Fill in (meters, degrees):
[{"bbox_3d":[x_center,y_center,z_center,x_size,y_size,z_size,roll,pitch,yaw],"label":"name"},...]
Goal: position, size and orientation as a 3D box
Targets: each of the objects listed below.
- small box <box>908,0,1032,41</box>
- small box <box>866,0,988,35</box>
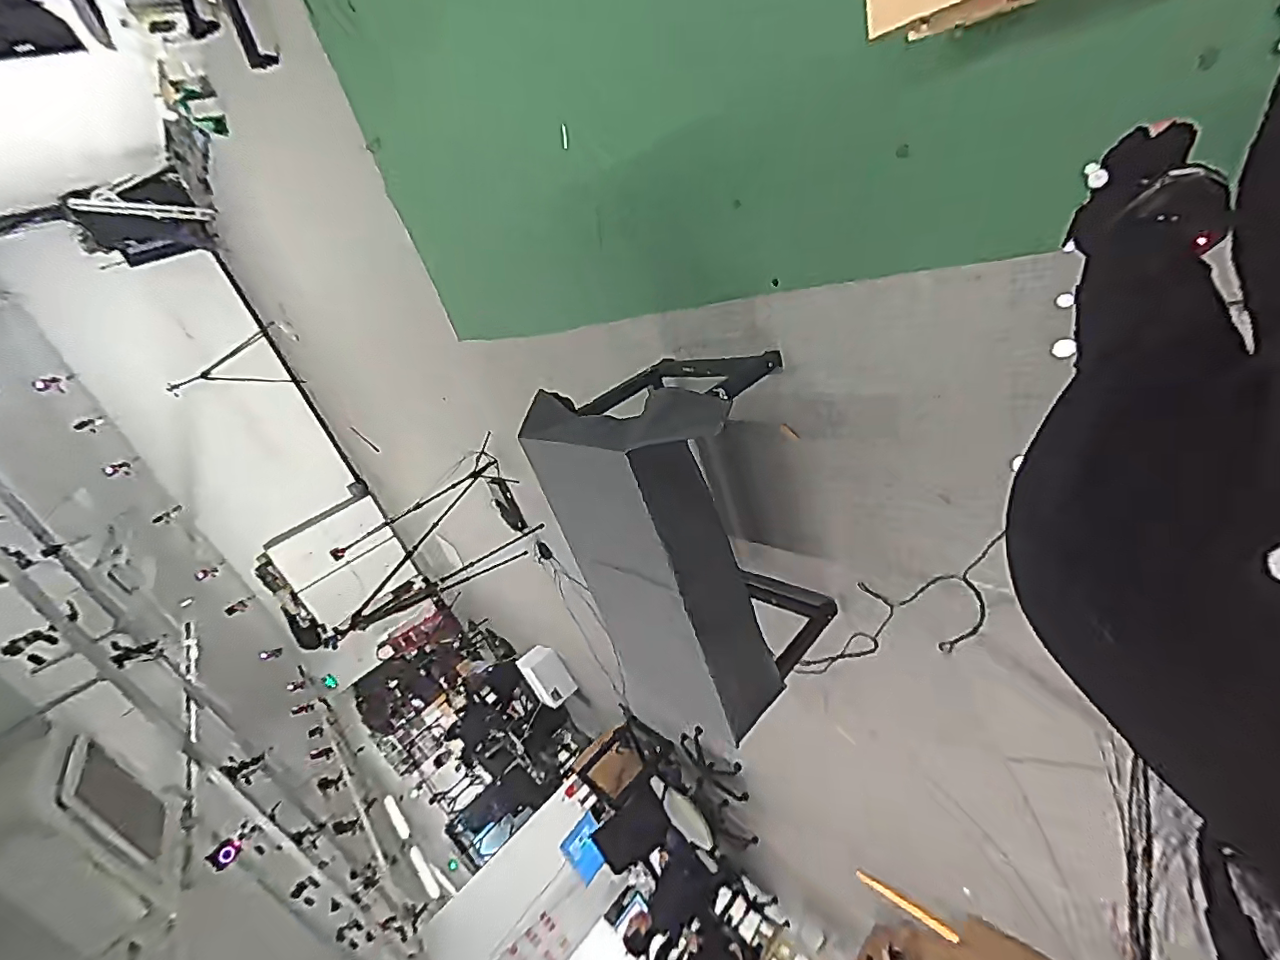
[{"bbox_3d":[0.600,-0.929,0.969,0.168,0.176,0.179,17,133,46],"label":"small box"},{"bbox_3d":[0.487,-0.855,0.874,0.179,0.176,0.168,16,132,47],"label":"small box"}]
